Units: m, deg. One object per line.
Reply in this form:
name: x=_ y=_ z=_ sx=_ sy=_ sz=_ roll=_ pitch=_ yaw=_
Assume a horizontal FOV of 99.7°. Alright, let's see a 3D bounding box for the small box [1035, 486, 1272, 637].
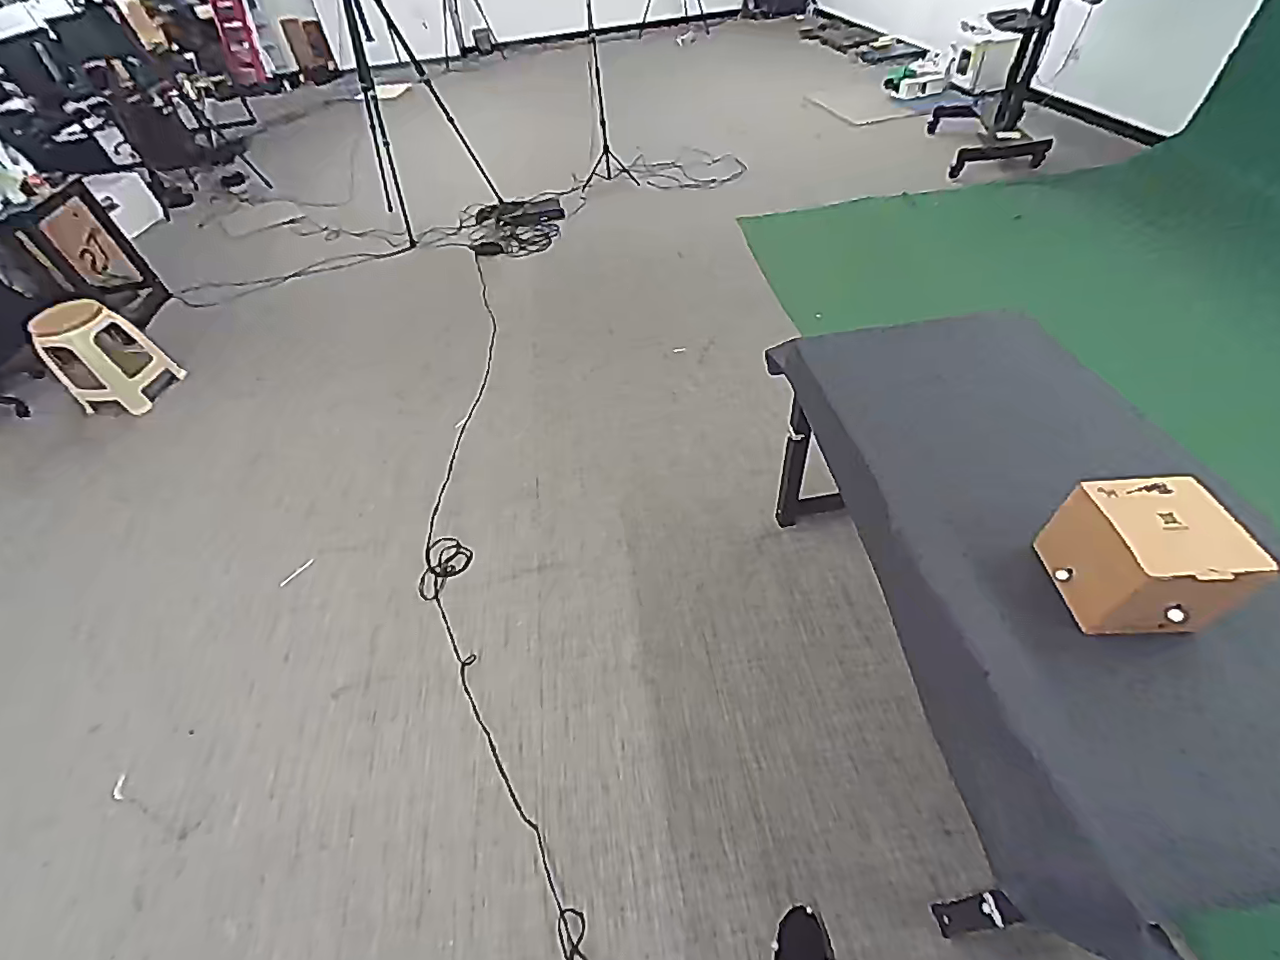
small box: x=0.762 y=0.131 z=0.831 sx=0.168 sy=0.176 sz=0.179 roll=-3 pitch=48 yaw=4
